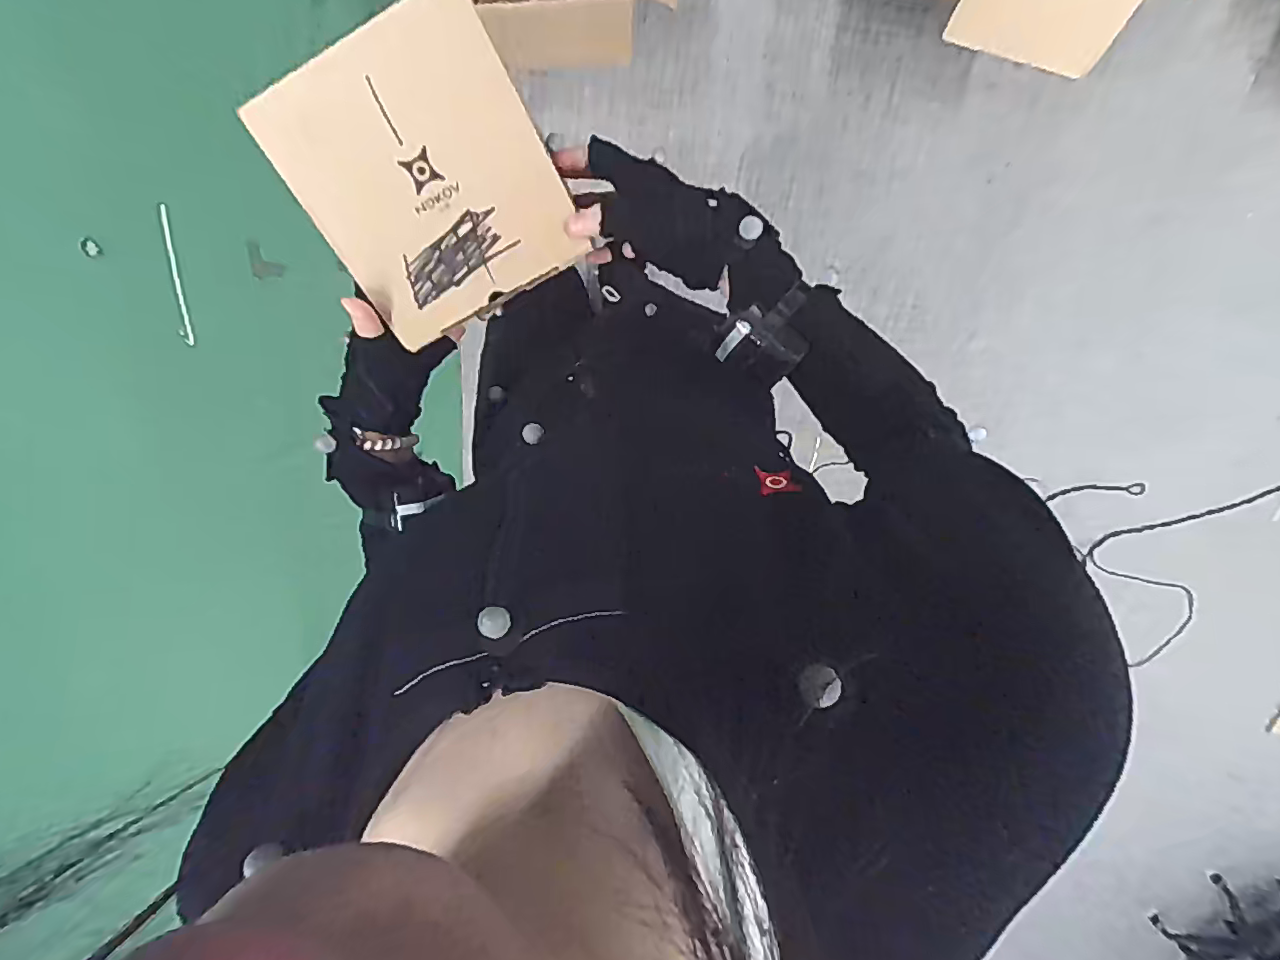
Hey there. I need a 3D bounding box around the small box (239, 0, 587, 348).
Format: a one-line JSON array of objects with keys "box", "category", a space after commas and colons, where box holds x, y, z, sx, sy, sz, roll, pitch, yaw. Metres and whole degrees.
[{"box": [-0.151, -0.239, 0.439, 0.168, 0.176, 0.179, -26, 116, 8], "category": "small box"}]
